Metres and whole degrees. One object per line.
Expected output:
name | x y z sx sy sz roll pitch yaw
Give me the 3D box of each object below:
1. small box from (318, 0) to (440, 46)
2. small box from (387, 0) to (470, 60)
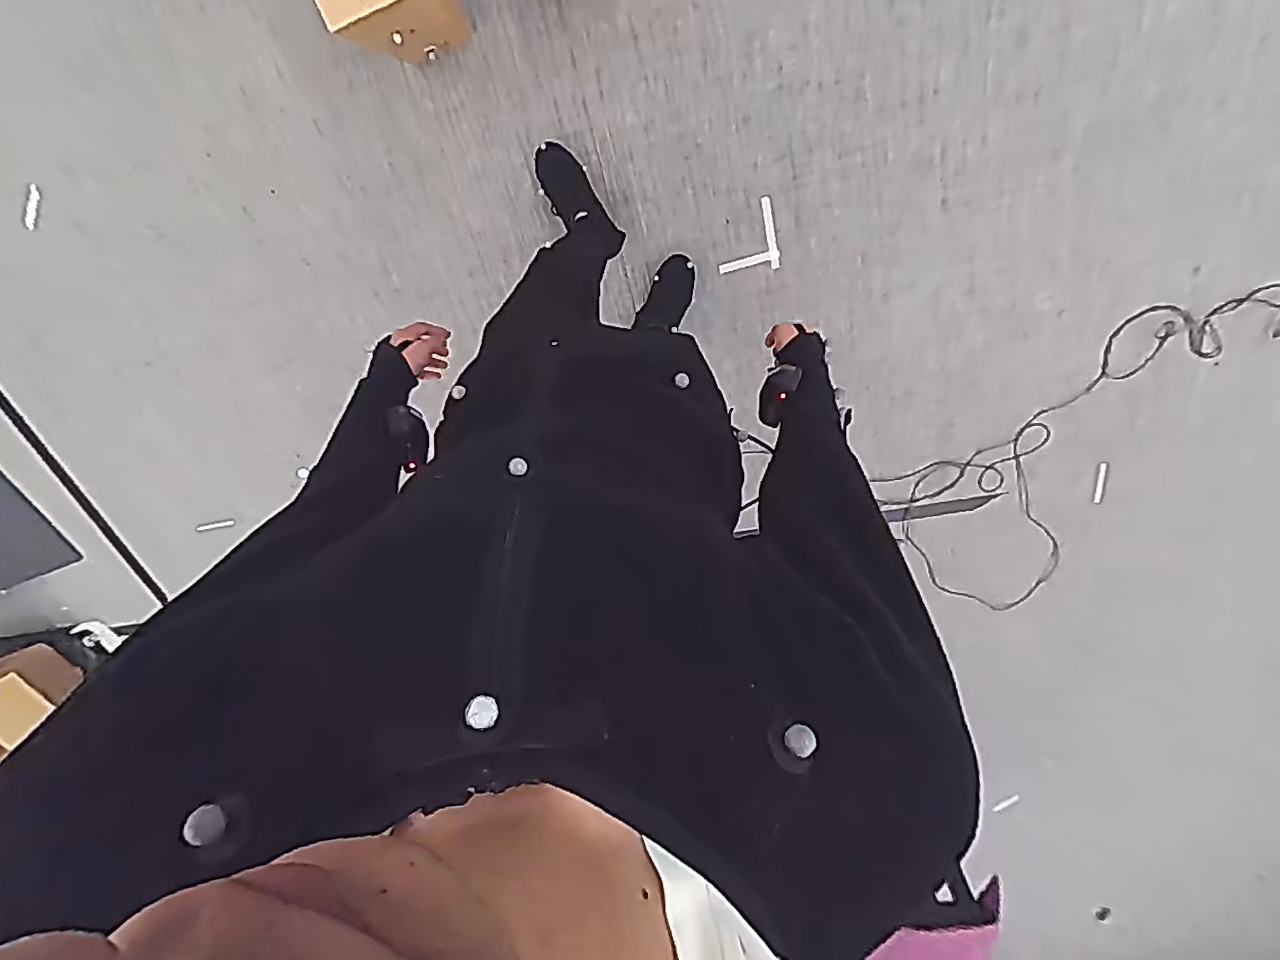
small box | -0.504 -0.950 0.998 0.168 0.176 0.179 -14 117 12
small box | -0.488 -1.033 1.139 0.168 0.176 0.179 -15 116 12
